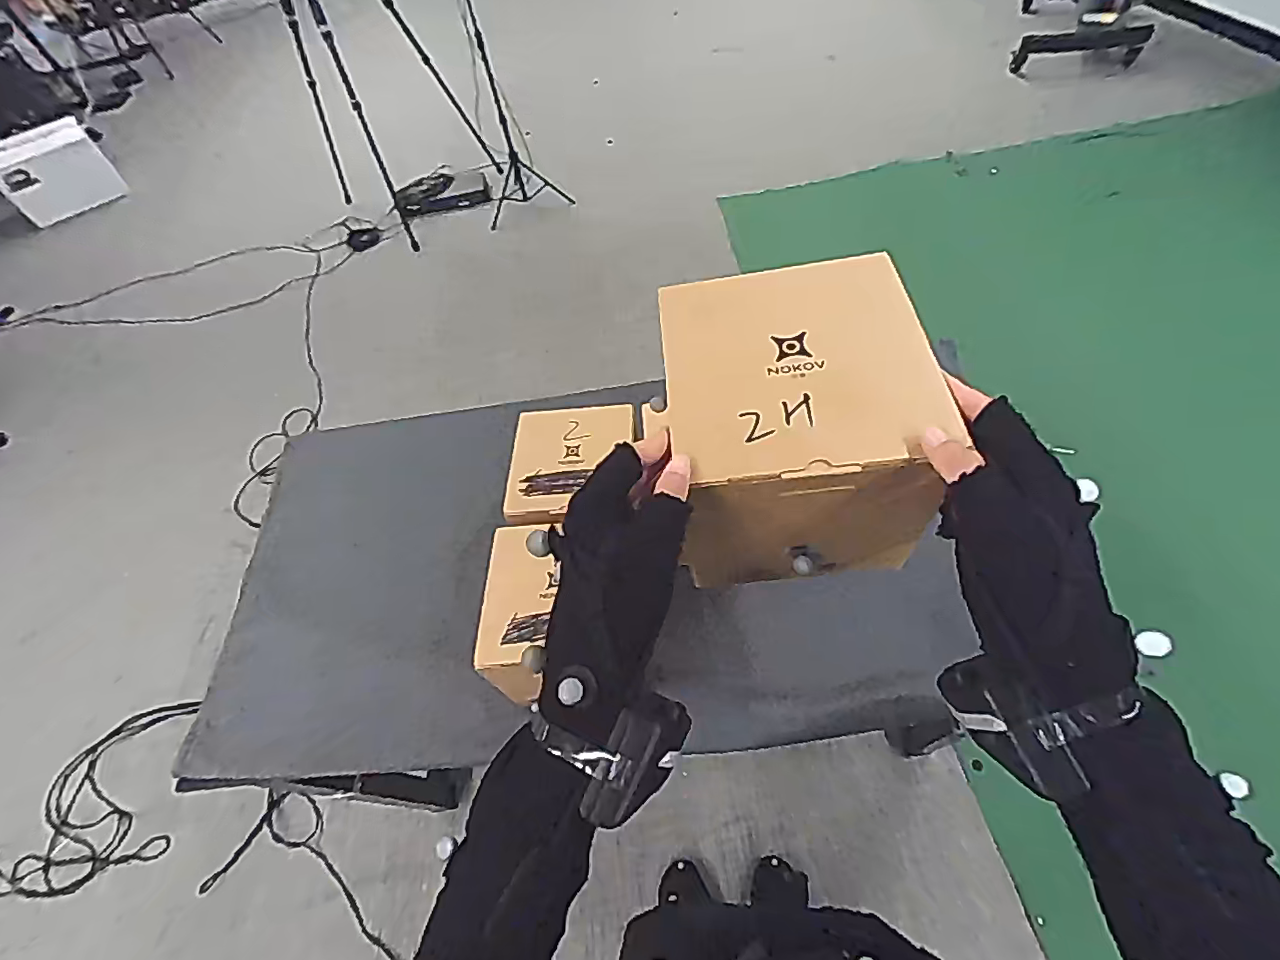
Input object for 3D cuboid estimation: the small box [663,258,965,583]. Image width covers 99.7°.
[{"bbox_3d":[0.109,-0.037,0.417,0.168,0.176,0.179,-6,58,7],"label":"small box"}]
